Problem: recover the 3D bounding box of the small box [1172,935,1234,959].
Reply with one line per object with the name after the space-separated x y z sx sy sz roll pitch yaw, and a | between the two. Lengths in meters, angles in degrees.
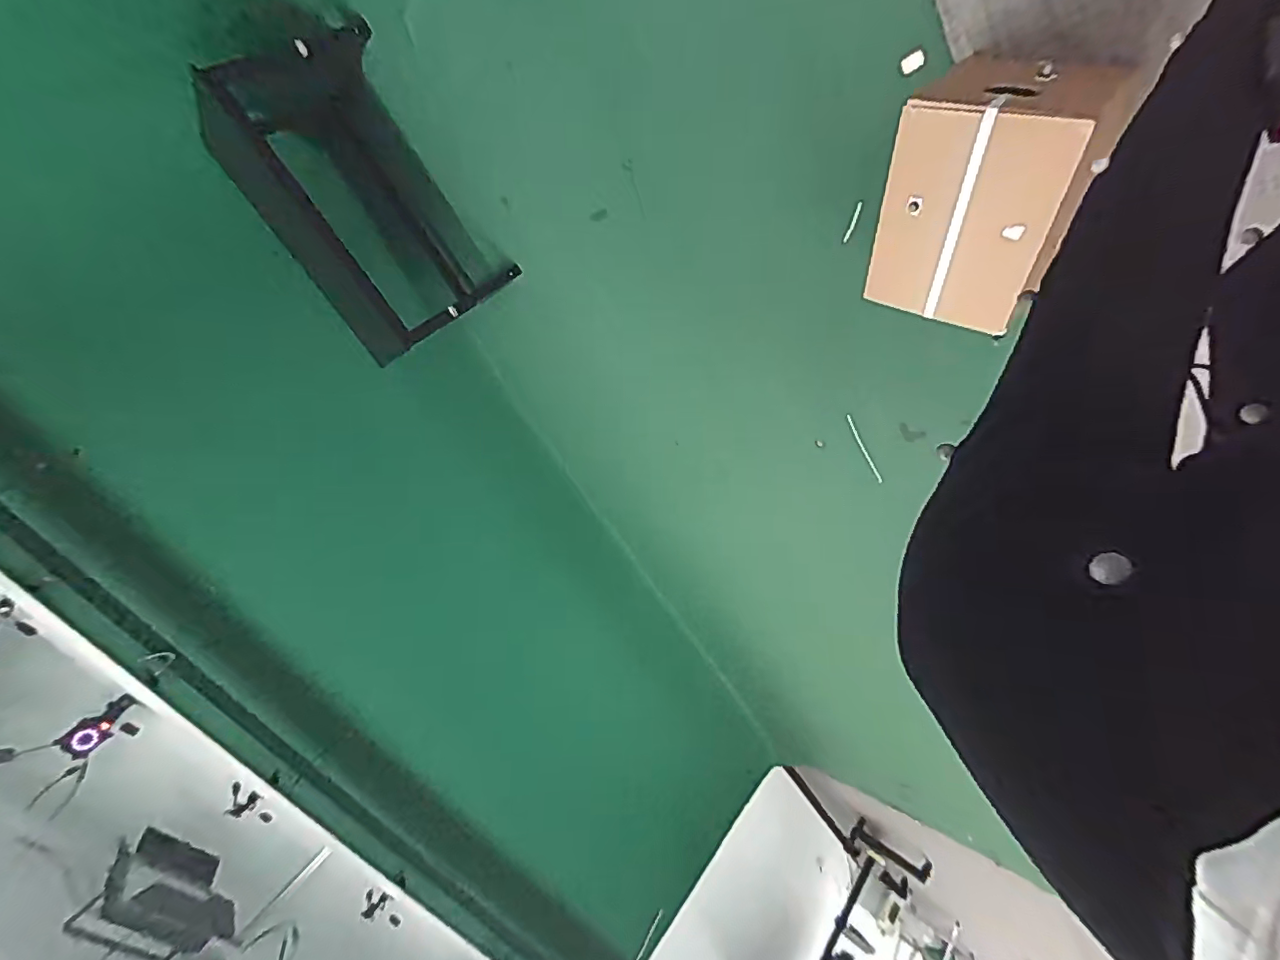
1.414 1.267 1.307 0.168 0.176 0.179 -3 129 55 | small box
